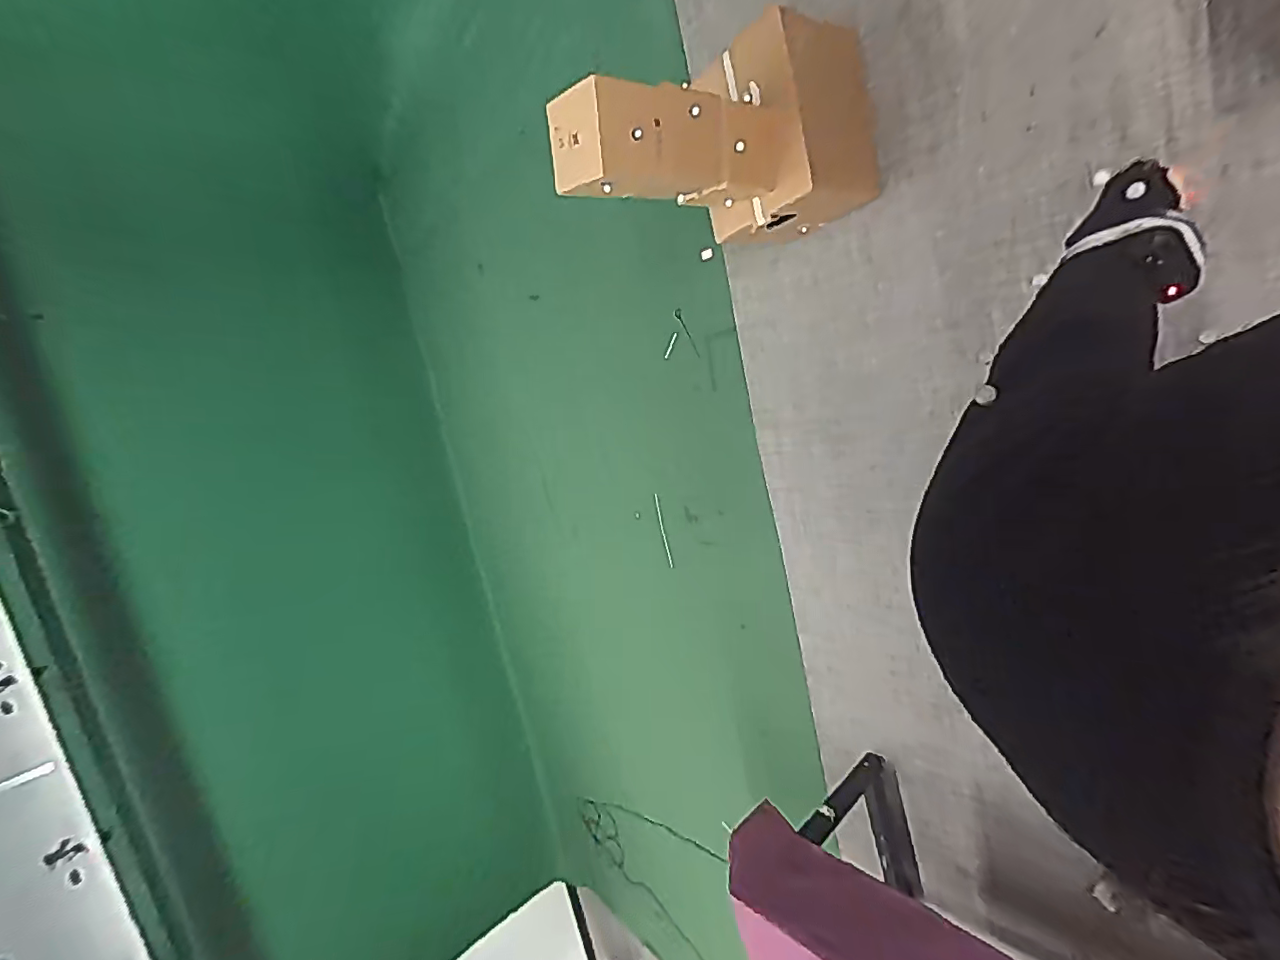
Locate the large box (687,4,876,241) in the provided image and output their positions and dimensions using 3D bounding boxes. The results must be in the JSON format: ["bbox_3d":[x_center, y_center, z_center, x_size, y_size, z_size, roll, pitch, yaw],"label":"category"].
[{"bbox_3d":[0.367,-0.887,1.414,0.320,0.320,0.408,-4,101,52],"label":"large box"}]

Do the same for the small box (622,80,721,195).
[{"bbox_3d":[0.063,-0.739,1.188,0.168,0.176,0.179,18,120,48],"label":"small box"}]

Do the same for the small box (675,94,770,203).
[{"bbox_3d":[0.191,-0.773,1.282,0.168,0.176,0.179,13,115,49],"label":"small box"}]

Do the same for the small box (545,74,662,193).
[{"bbox_3d":[-0.067,-0.691,1.099,0.179,0.176,0.168,18,119,48],"label":"small box"}]
